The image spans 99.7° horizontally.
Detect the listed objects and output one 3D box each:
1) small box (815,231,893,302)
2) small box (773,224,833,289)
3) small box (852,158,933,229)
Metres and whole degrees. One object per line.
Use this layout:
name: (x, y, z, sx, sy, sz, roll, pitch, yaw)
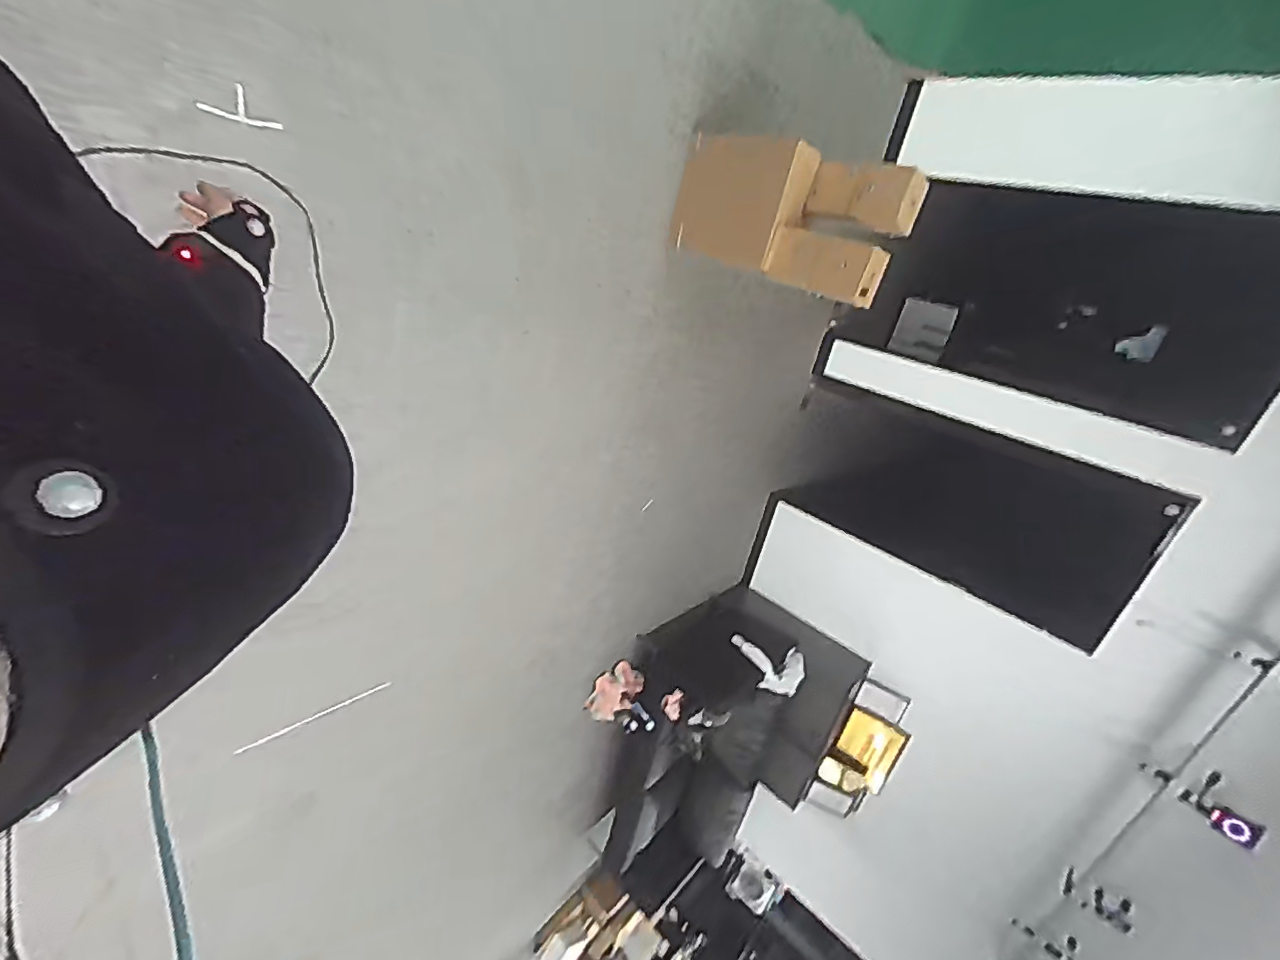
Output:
small box: (0.710, -0.715, 1.811, 0.168, 0.176, 0.179, -8, 121, -49)
small box: (0.594, -0.787, 1.901, 0.168, 0.176, 0.179, -8, 120, -46)
small box: (0.839, -0.957, 1.802, 0.179, 0.176, 0.168, -6, 118, -49)
